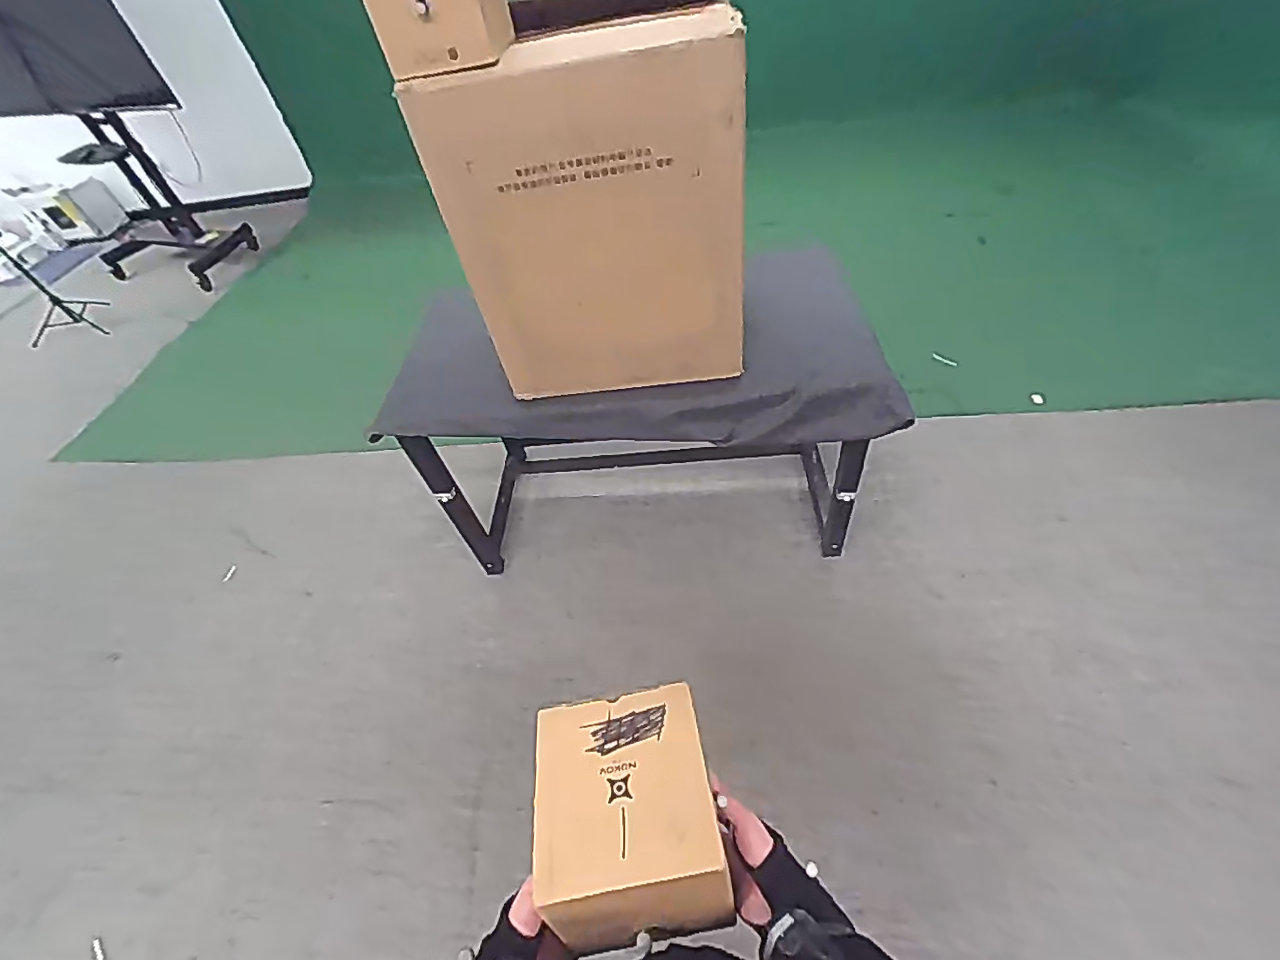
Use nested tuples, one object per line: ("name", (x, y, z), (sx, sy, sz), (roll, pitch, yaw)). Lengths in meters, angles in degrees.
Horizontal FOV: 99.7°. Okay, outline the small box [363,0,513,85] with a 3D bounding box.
("small box", (-0.306, -0.727, 0.824), (0.168, 0.176, 0.179), (-5, 49, 7))
